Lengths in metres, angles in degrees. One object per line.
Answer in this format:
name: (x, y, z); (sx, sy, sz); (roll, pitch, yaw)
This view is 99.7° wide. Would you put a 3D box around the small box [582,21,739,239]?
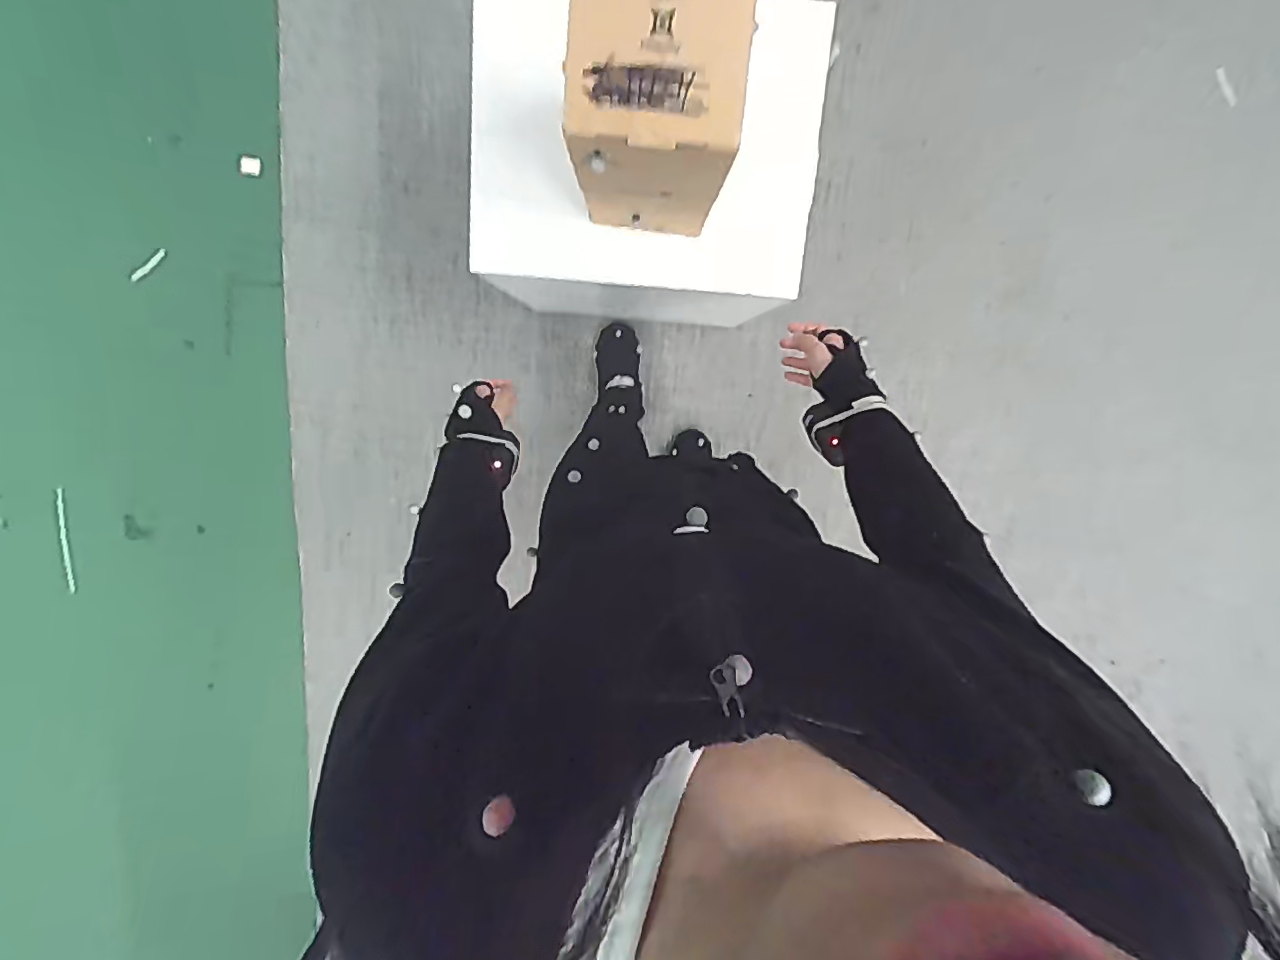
small box: (0.020, -0.438, 0.707); (0.168, 0.176, 0.179); (7, 100, -2)
